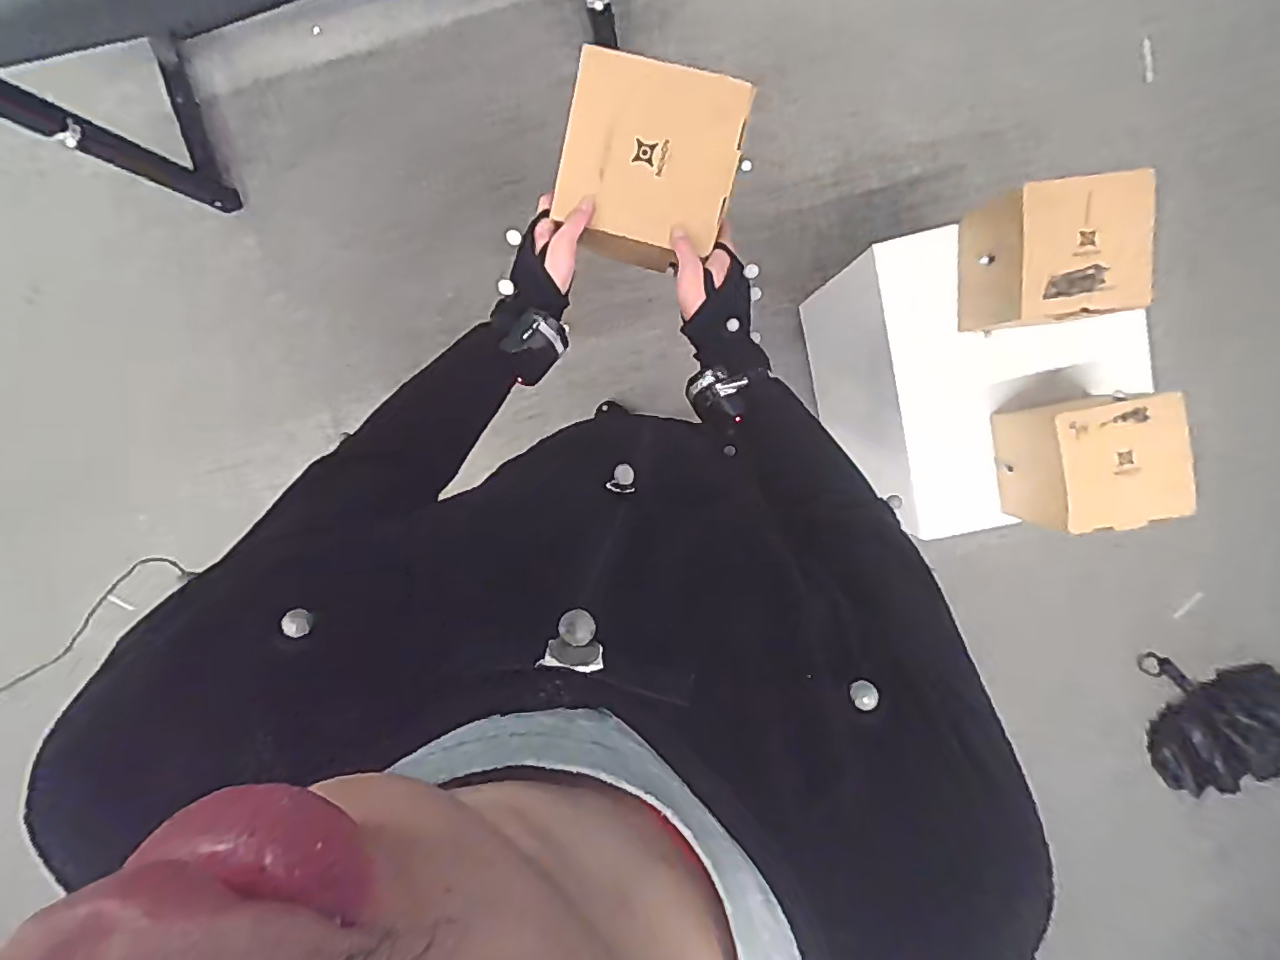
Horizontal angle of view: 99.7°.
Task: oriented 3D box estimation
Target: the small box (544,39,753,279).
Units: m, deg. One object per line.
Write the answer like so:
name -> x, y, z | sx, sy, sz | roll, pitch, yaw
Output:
small box -> 0.012, -0.335, 0.604 | 0.179, 0.176, 0.168 | 14, 100, 3

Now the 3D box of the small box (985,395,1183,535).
small box -> 0.665, -0.030, 0.829 | 0.168, 0.176, 0.179 | -11, 97, 4

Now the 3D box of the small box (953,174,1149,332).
small box -> 0.585, -0.317, 0.794 | 0.168, 0.176, 0.179 | -5, 98, 2
